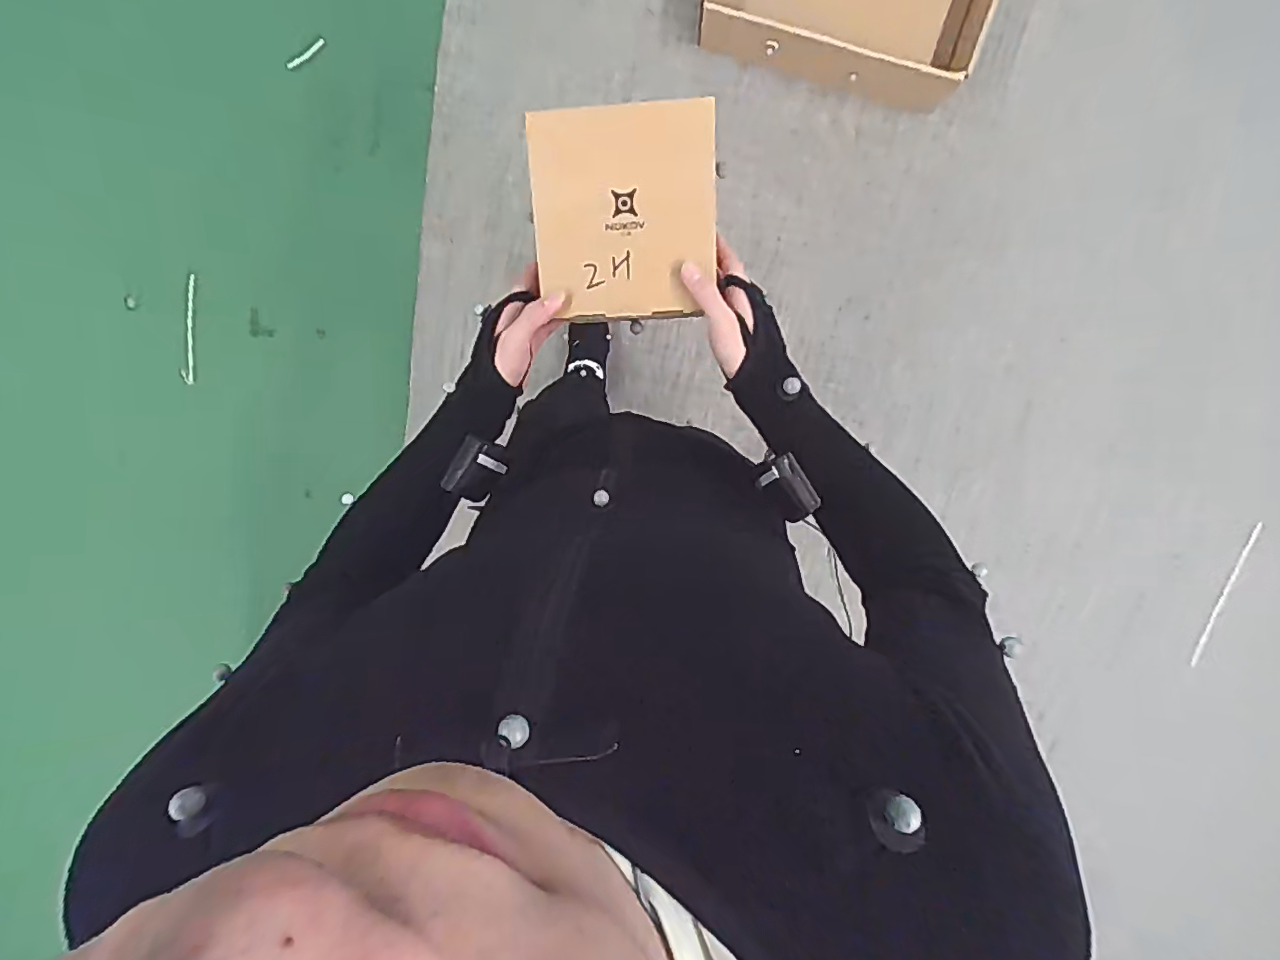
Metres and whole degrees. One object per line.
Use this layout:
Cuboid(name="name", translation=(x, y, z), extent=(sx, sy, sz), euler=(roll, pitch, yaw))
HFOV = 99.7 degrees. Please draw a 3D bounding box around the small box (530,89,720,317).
Cuboid(name="small box", translation=(-0.007, -0.264, 0.556), extent=(0.168, 0.176, 0.179), euler=(-1, 106, 5))
